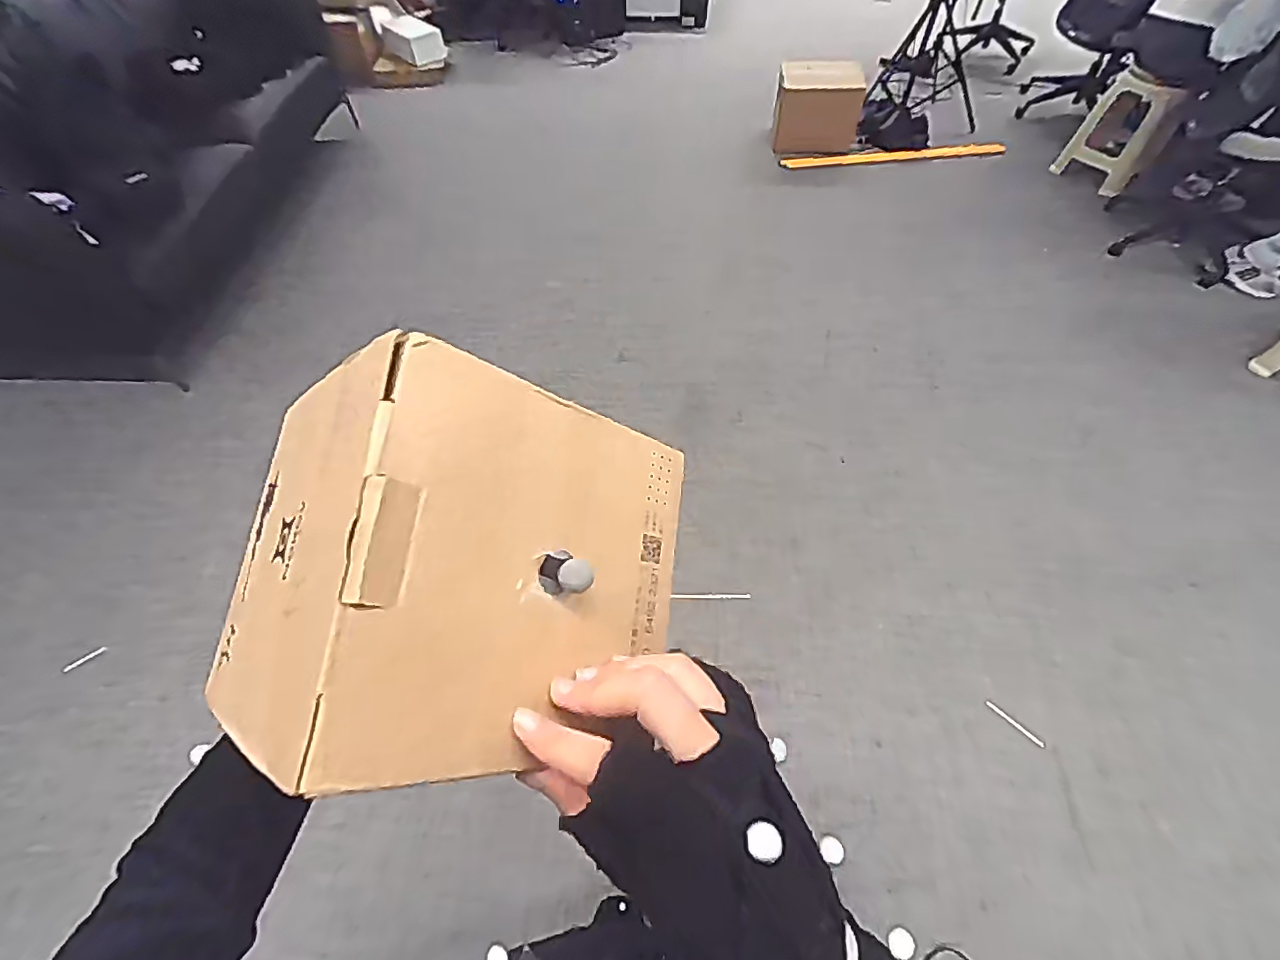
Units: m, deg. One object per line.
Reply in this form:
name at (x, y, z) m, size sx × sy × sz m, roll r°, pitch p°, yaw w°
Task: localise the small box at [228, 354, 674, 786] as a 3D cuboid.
small box at (-0.099, 0.053, 0.313) m, size 0.179 × 0.176 × 0.168 m, roll -7°, pitch 69°, yaw 43°
